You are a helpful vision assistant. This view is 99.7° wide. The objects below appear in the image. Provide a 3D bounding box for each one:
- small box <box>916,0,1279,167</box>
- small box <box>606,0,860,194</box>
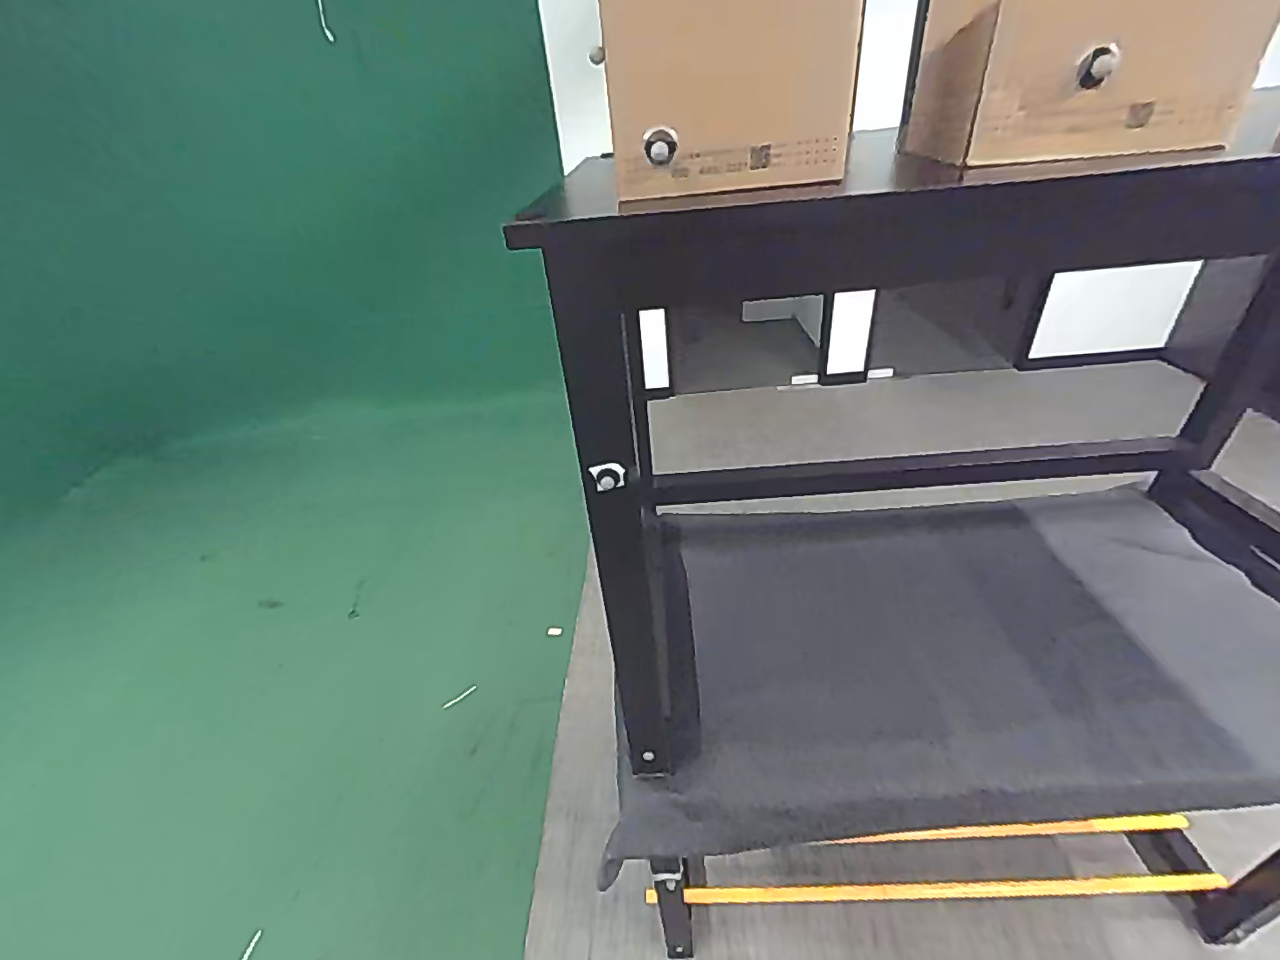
[{"bbox_3d":[0.328,-0.341,0.408,0.168,0.176,0.179,1,35,10],"label":"small box"},{"bbox_3d":[0.063,-0.326,0.420,0.168,0.176,0.179,-4,33,3],"label":"small box"}]
